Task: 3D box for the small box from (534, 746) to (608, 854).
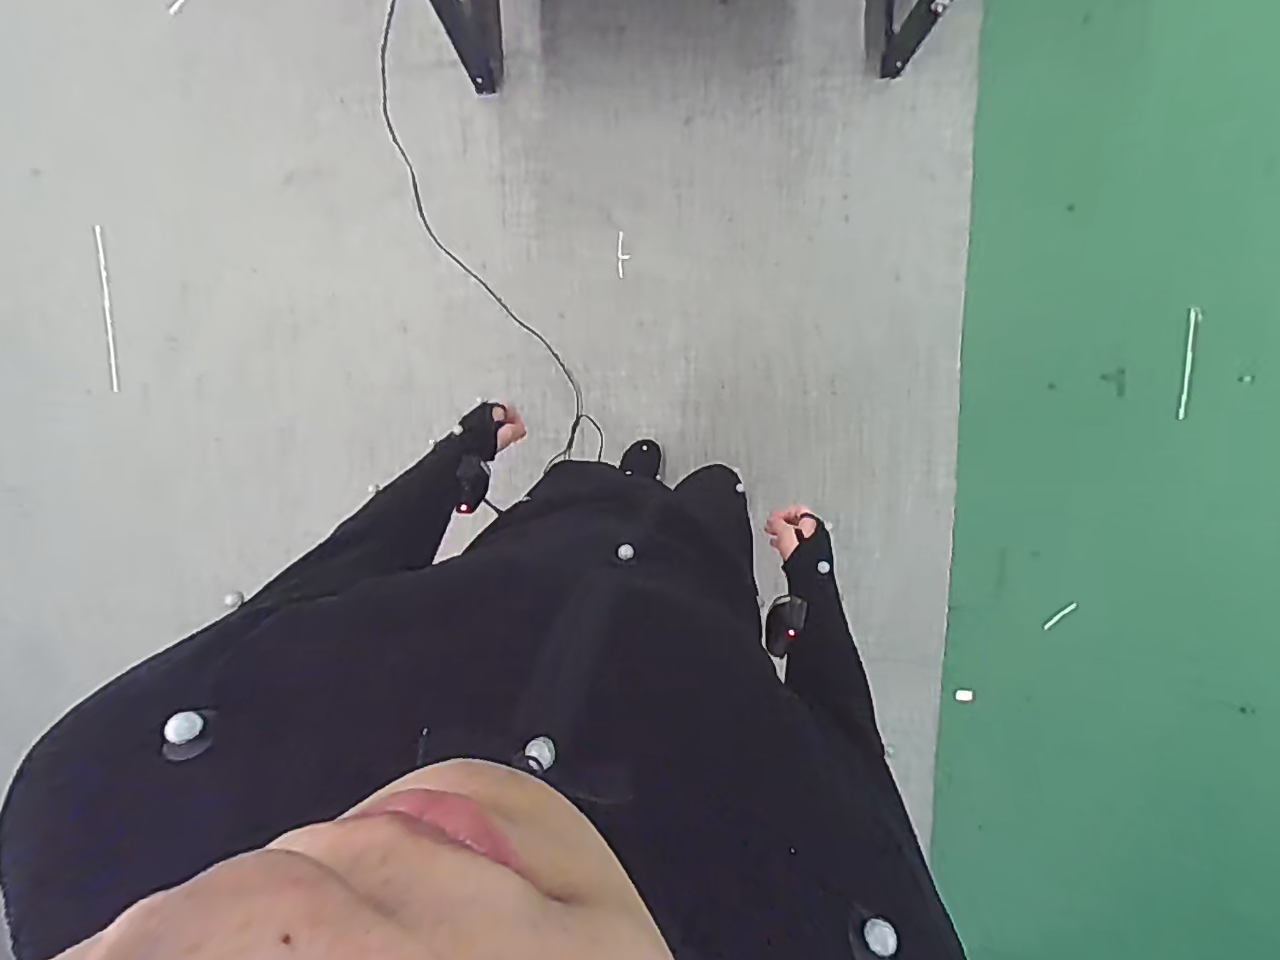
[{"bbox_3d":[-0.173,0.816,1.395,0.168,0.176,0.179,6,97,-2],"label":"small box"}]
